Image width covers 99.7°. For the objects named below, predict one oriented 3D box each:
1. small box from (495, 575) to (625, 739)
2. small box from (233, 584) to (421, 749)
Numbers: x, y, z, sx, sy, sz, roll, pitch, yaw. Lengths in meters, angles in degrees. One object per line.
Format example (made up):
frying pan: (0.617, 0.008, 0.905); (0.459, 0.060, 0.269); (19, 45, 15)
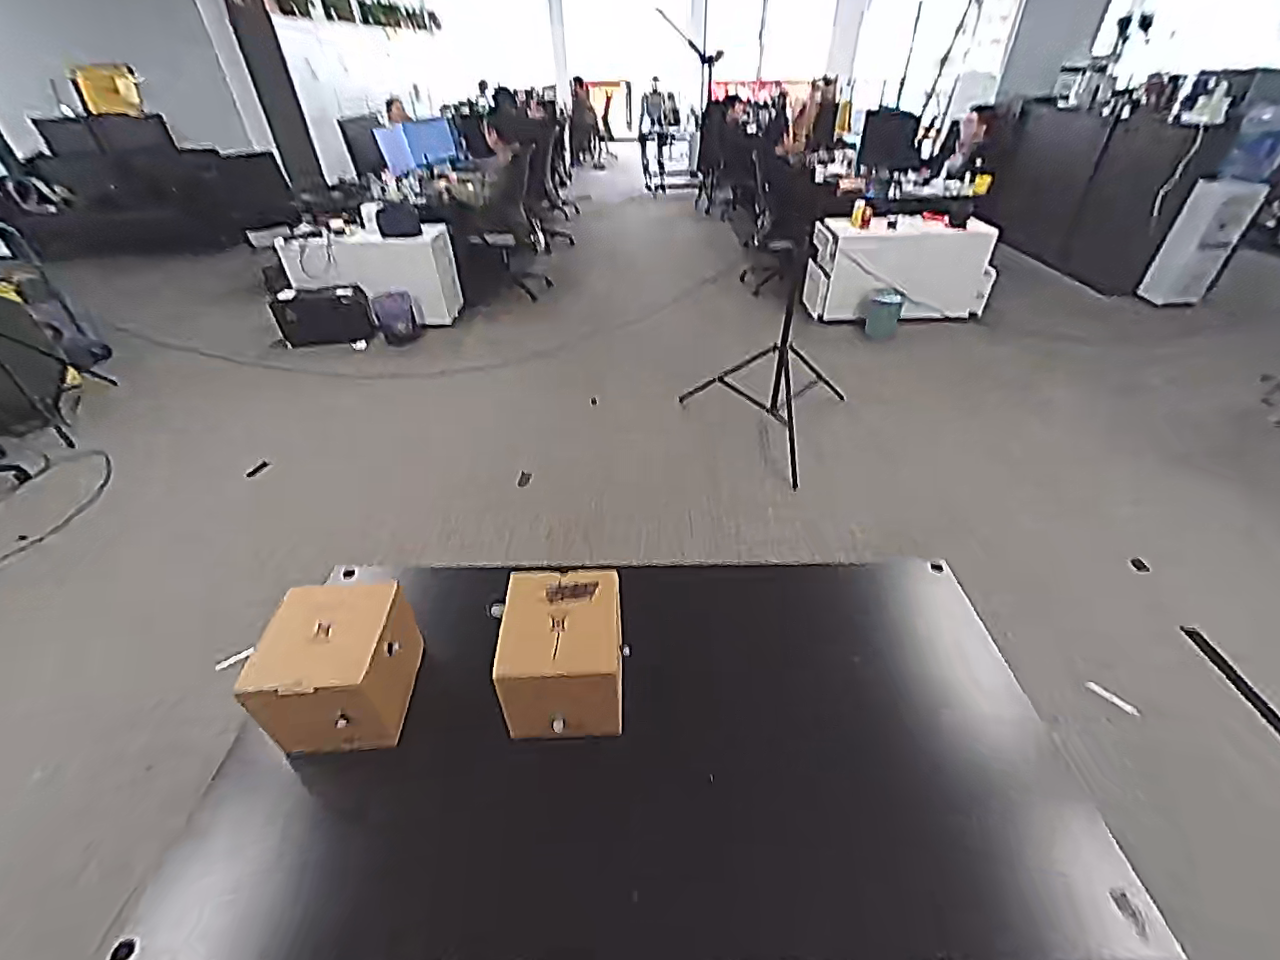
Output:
small box: (-0.108, 0.263, 0.812); (0.168, 0.176, 0.179); (-2, 39, -1)
small box: (-0.441, 0.278, 0.800); (0.168, 0.176, 0.179); (-2, 37, -4)
